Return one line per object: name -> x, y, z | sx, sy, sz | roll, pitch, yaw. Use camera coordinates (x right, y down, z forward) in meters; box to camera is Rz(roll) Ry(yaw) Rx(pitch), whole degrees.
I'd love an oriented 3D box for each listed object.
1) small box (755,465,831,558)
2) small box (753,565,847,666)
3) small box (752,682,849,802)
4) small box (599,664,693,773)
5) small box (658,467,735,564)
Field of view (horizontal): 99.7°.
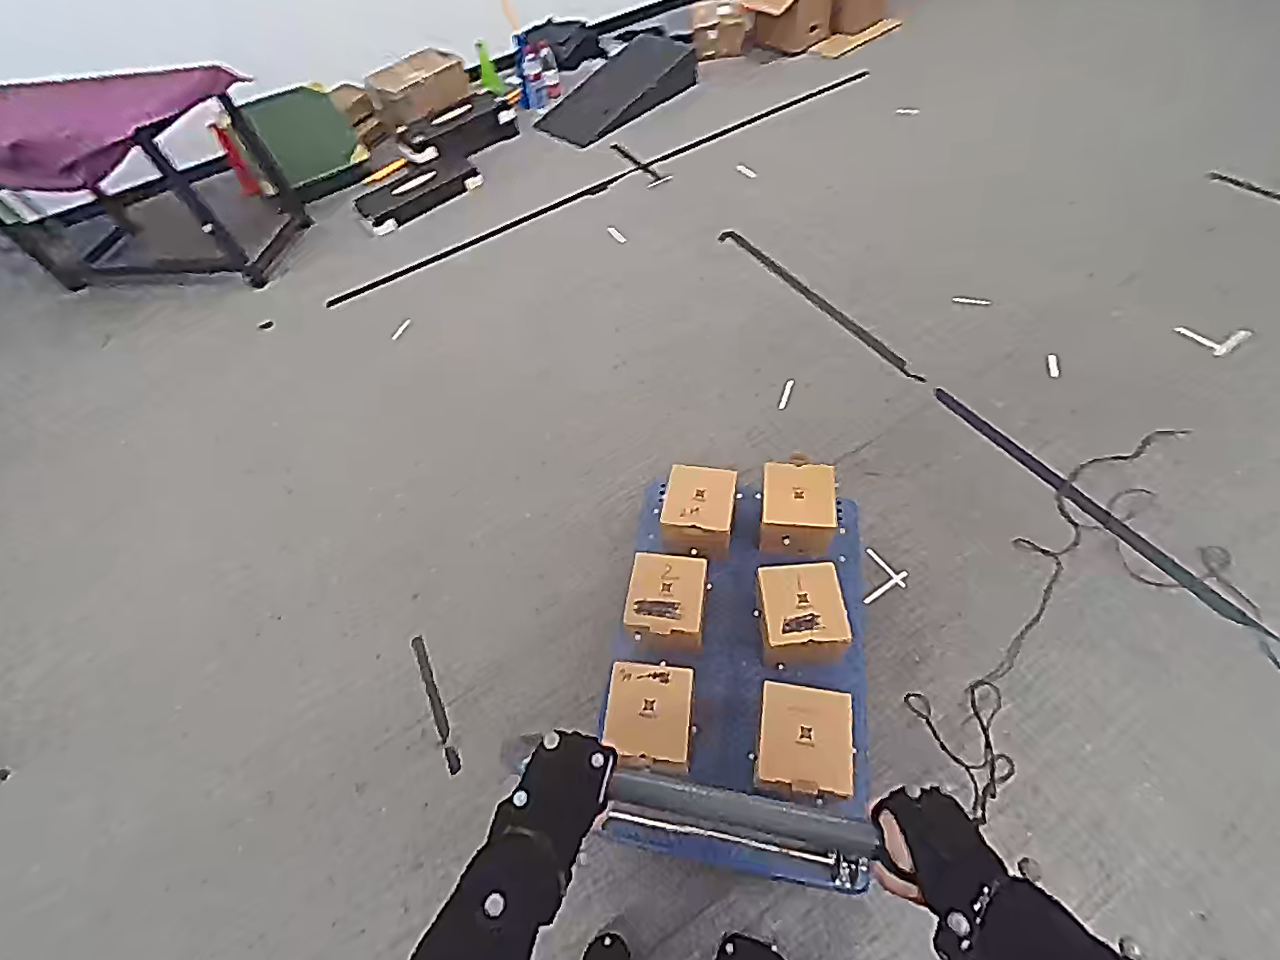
small box -> 0.381, 0.083, 1.361 | 0.168, 0.176, 0.179 | 3, 56, 10
small box -> 0.348, 0.309, 1.212 | 0.168, 0.176, 0.179 | -5, 55, 5
small box -> 0.314, 0.523, 1.072 | 0.168, 0.176, 0.179 | 6, 56, 11
small box -> 0.022, 0.500, 1.126 | 0.168, 0.176, 0.179 | 3, 57, 9
small box -> 0.147, 0.092, 1.384 | 0.168, 0.176, 0.179 | 7, 58, 12
